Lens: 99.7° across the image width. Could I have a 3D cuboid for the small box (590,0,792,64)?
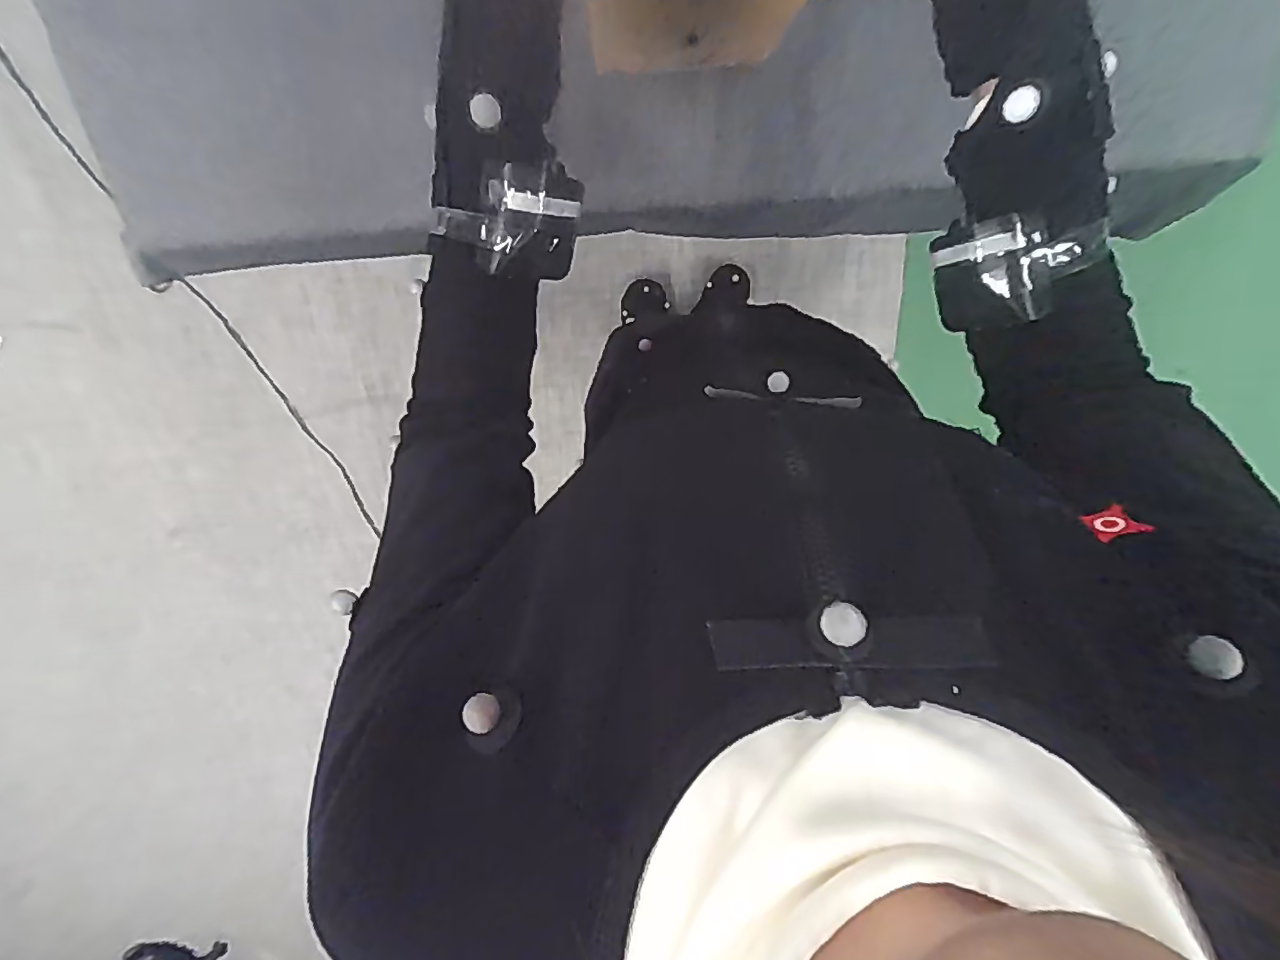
[{"bbox_3d":[0.039,-0.459,0.428,0.168,0.176,0.179,-5,113,2],"label":"small box"}]
